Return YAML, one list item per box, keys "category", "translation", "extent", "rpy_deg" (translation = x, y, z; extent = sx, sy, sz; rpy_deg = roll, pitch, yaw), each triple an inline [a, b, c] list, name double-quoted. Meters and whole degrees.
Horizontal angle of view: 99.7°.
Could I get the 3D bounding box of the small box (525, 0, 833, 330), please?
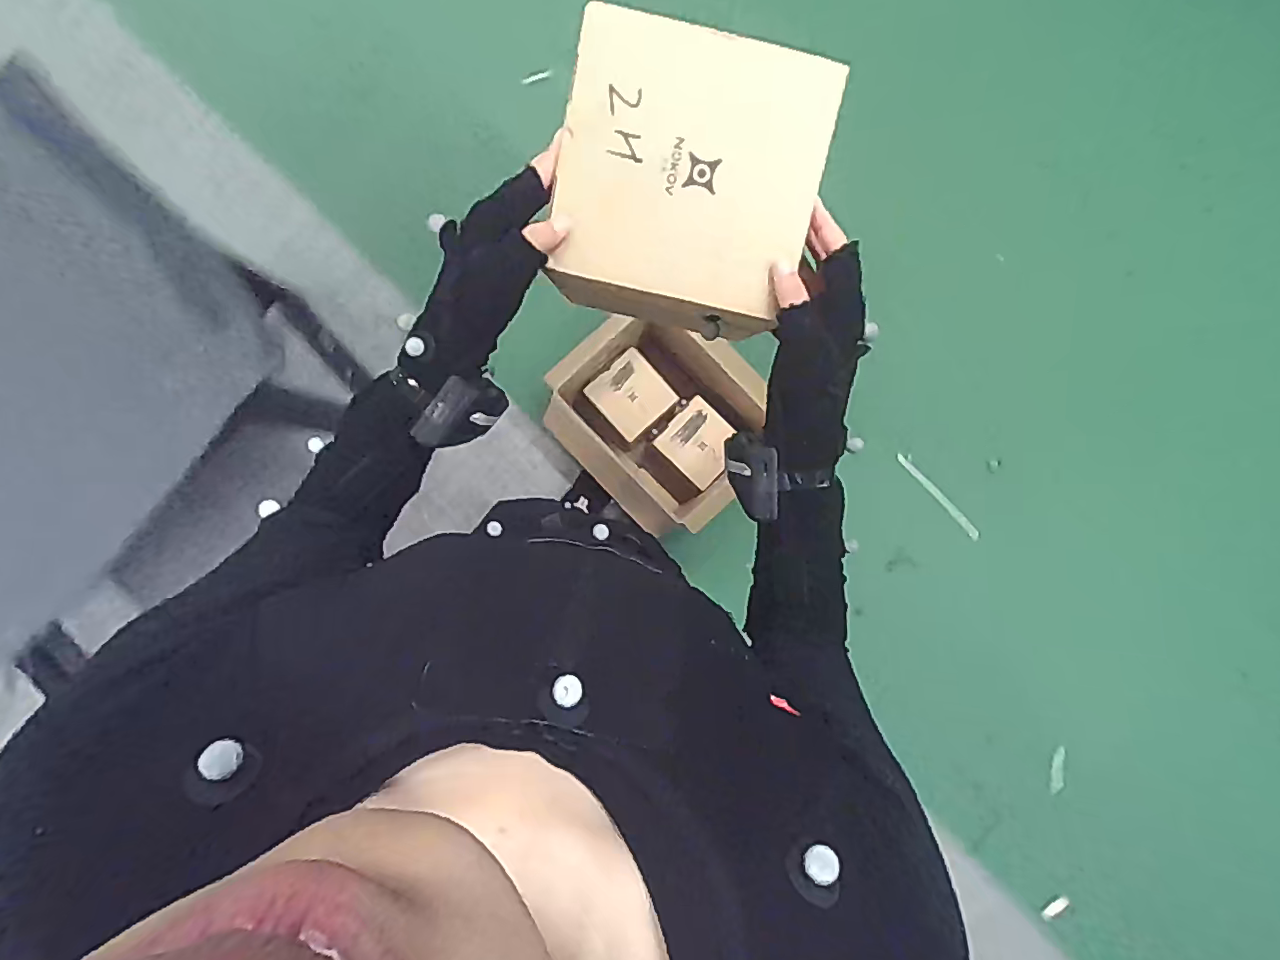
- category: "small box"
  translation: [0.022, -0.221, 0.431]
  extent: [0.179, 0.176, 0.168]
  rpy_deg: [11, 100, -2]
